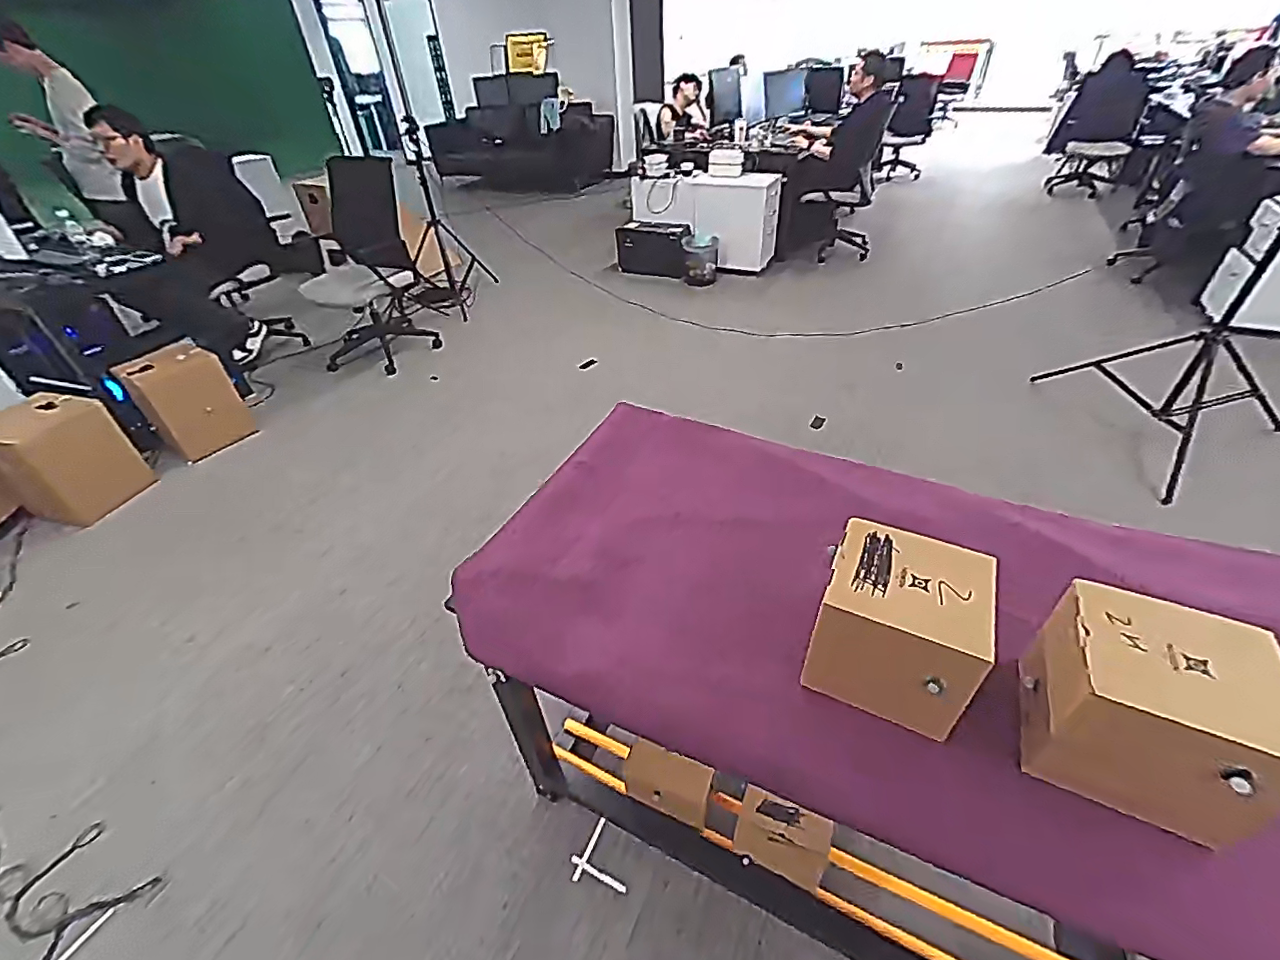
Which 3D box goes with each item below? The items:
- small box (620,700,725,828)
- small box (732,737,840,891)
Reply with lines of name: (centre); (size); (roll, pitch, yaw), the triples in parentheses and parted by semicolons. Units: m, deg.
small box: (0.074, 0.612, 1.160); (0.179, 0.176, 0.168); (13, 43, 19)
small box: (0.287, 0.664, 1.076); (0.168, 0.176, 0.179); (15, 36, 21)
